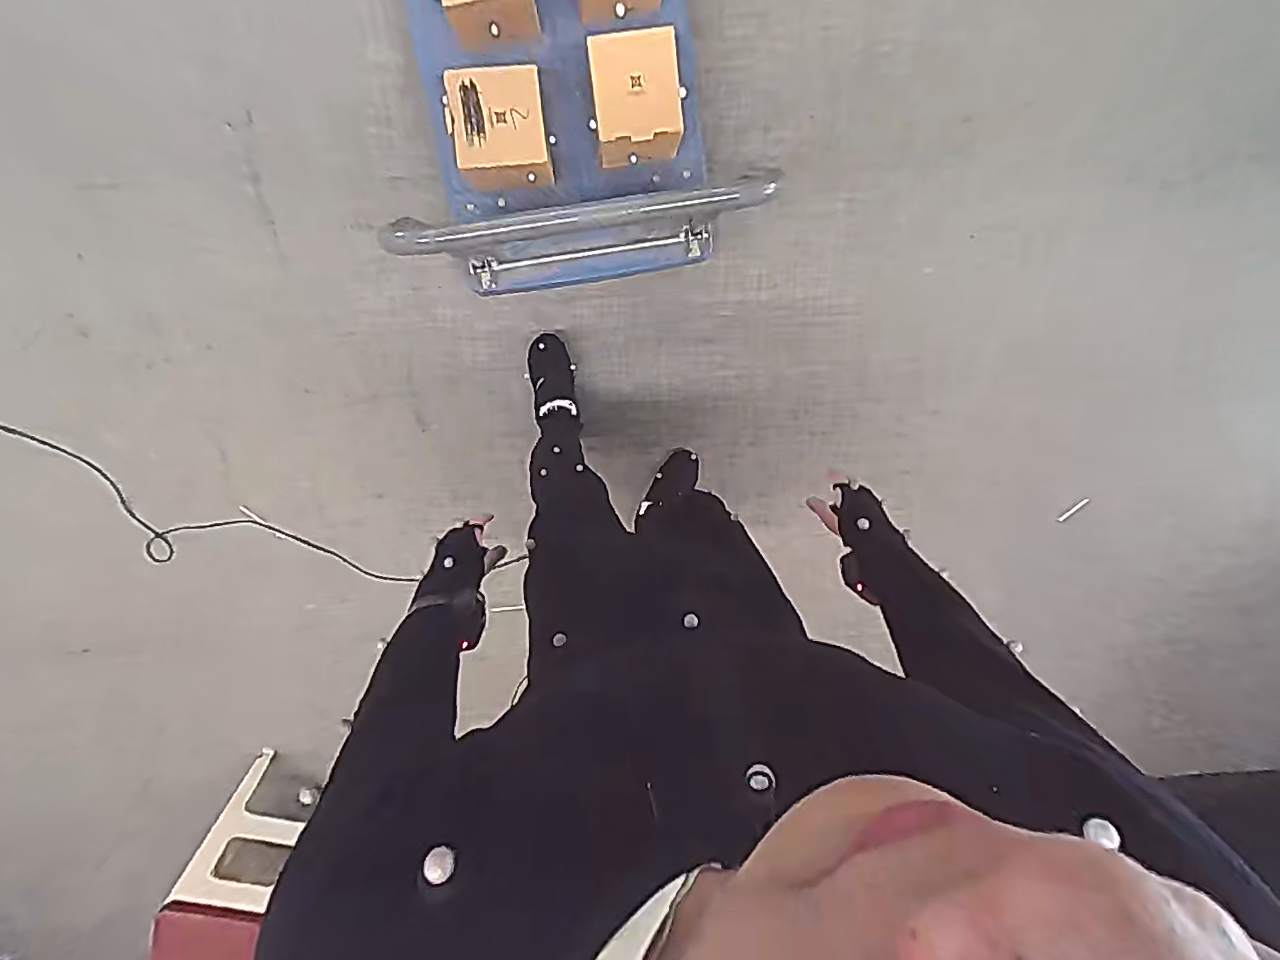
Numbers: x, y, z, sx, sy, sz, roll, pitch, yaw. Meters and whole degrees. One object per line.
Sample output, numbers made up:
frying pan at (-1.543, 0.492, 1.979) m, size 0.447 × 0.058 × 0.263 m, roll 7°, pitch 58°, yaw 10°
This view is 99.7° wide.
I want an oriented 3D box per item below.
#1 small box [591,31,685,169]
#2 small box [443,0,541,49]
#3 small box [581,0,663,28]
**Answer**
small box at (-0.008, -0.764, 1.102) m, size 0.168 × 0.176 × 0.179 m, roll -8°, pitch 105°, yaw -1°
small box at (-0.293, -0.967, 1.033) m, size 0.168 × 0.176 × 0.179 m, roll -12°, pitch 105°, yaw -1°
small box at (-0.047, -1.022, 1.032) m, size 0.168 × 0.176 × 0.179 m, roll -12°, pitch 106°, yaw 1°
